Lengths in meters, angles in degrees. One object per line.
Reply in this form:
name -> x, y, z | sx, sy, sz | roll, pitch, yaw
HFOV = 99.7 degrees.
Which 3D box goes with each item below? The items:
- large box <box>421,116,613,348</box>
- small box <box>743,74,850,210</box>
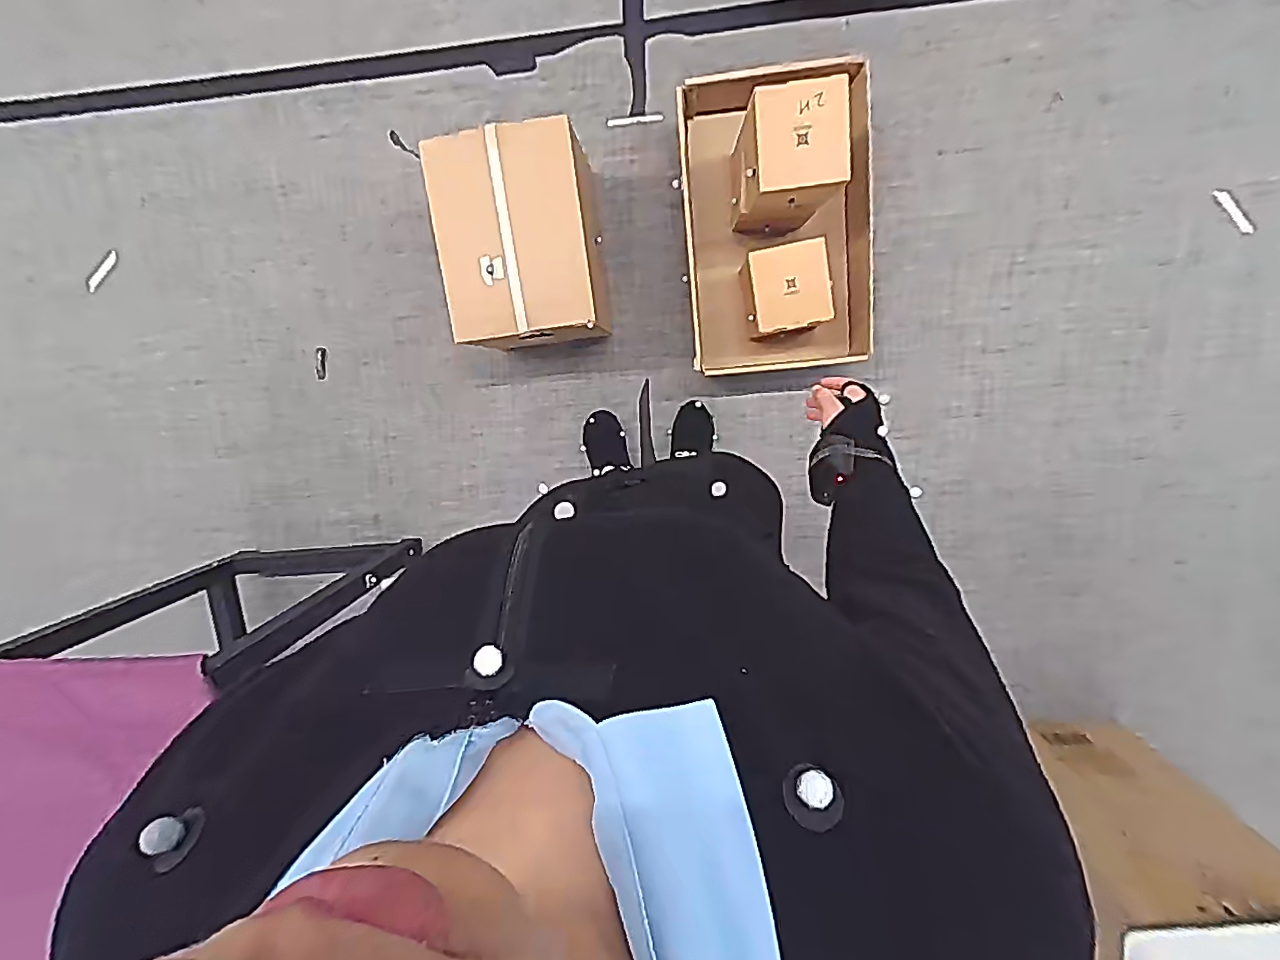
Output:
large box -> -0.254, -0.534, 1.251 | 0.320, 0.320, 0.408 | -7, 101, 6
small box -> 0.296, -0.636, 1.043 | 0.168, 0.176, 0.179 | -5, 102, 4
